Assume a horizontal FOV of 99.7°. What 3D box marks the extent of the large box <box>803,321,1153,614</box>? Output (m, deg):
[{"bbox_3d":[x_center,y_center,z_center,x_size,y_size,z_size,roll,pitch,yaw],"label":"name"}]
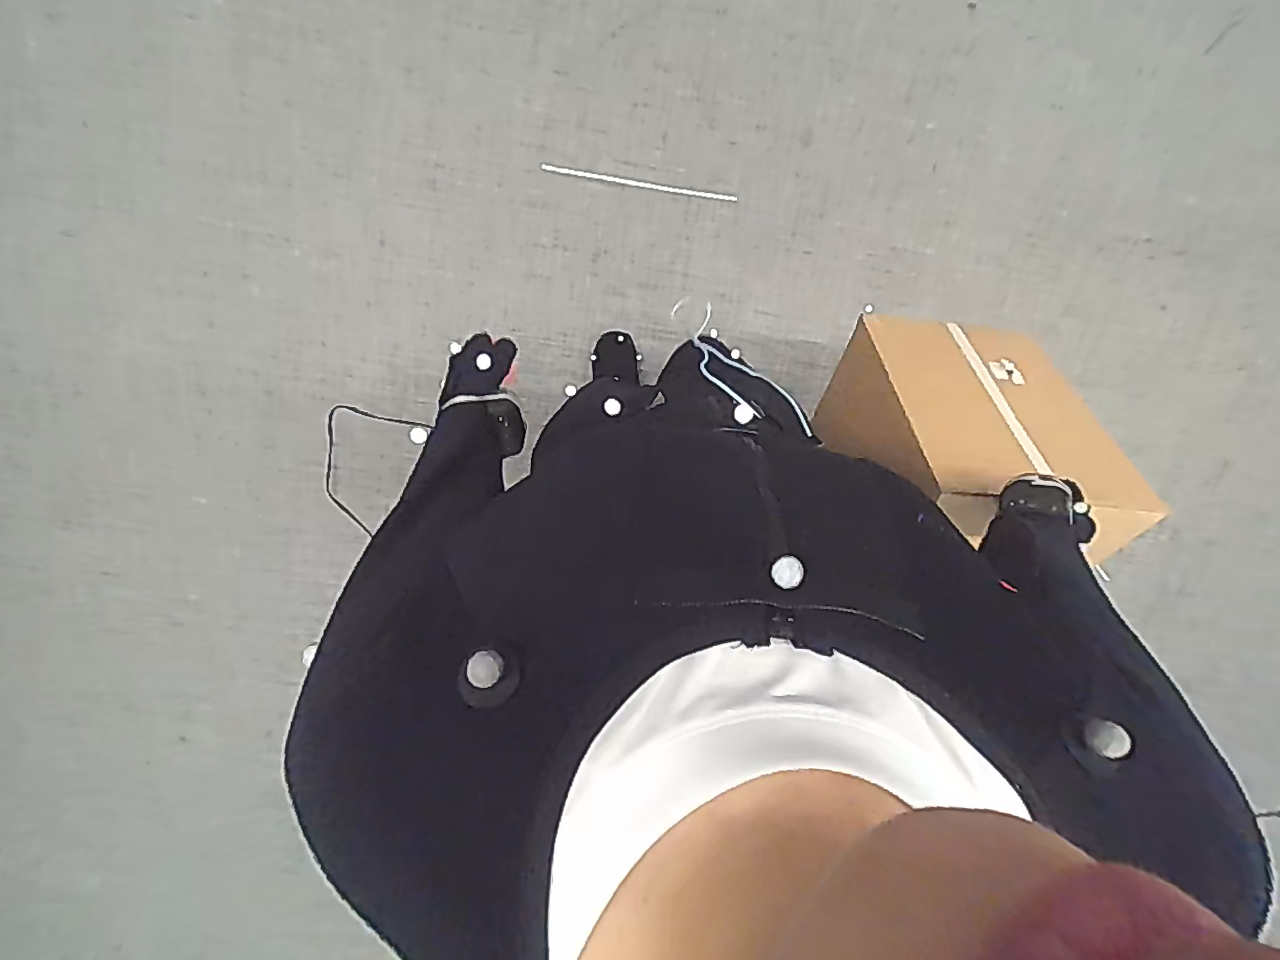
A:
[{"bbox_3d":[0.512,-0.020,0.939,0.320,0.408,0.320,6,138,-5],"label":"large box"}]
